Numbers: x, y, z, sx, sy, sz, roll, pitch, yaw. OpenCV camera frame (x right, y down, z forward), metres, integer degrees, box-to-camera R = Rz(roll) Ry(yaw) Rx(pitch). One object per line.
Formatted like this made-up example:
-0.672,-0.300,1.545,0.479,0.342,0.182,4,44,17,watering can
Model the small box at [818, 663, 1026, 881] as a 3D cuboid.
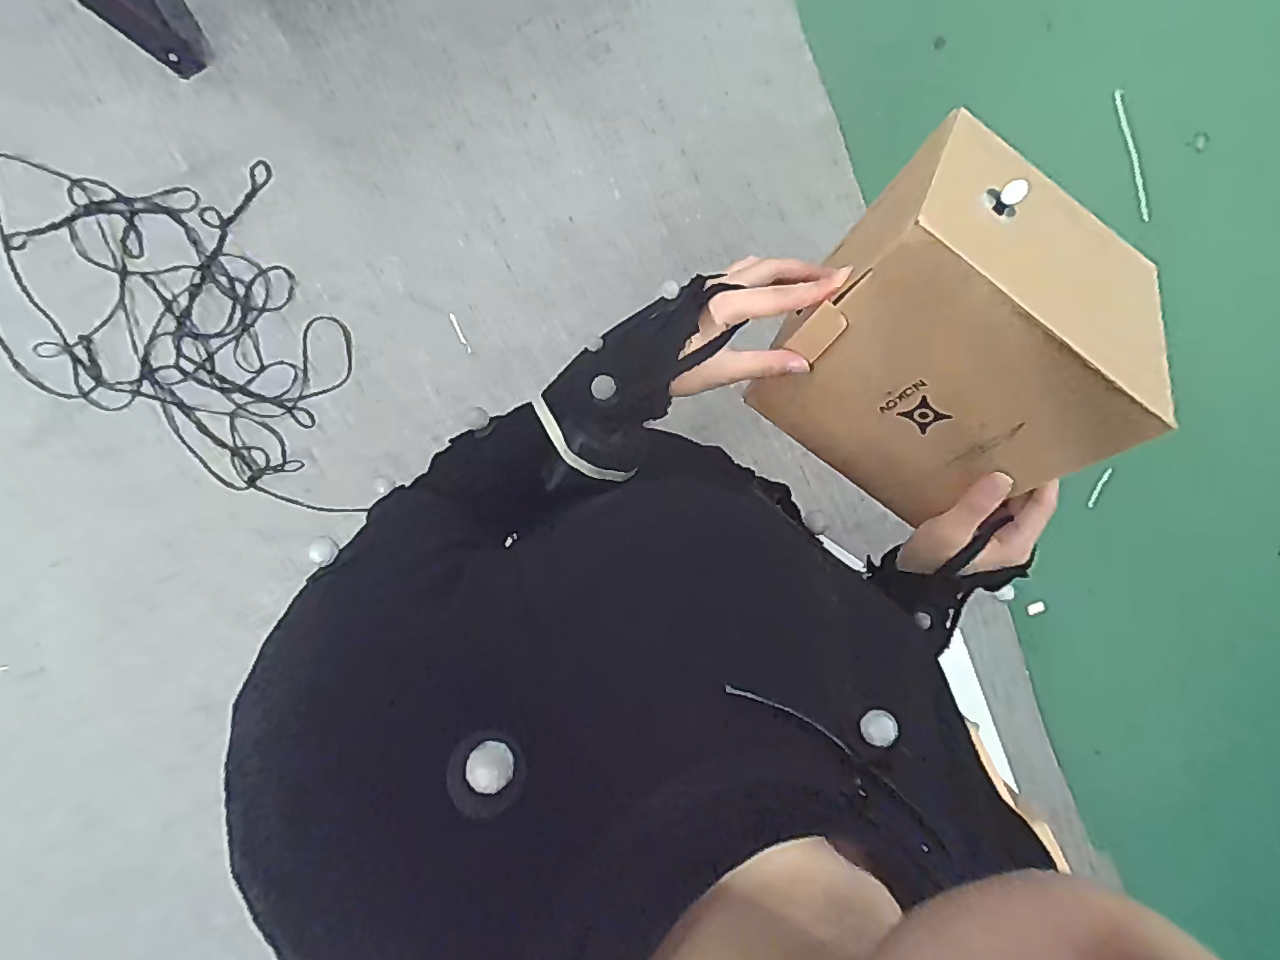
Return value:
0.387,0.401,0.769,0.168,0.176,0.179,-31,102,2,small box
